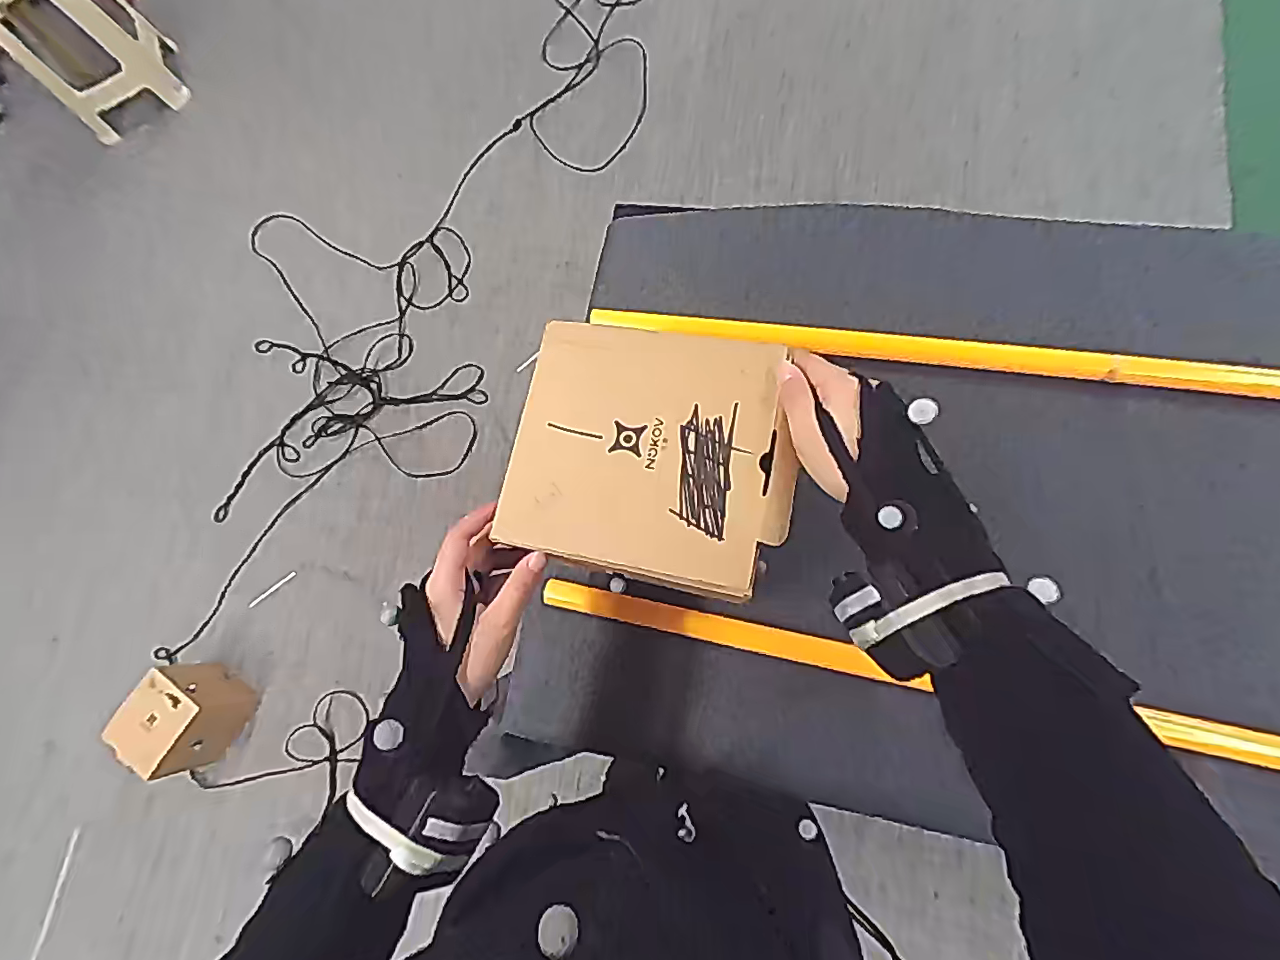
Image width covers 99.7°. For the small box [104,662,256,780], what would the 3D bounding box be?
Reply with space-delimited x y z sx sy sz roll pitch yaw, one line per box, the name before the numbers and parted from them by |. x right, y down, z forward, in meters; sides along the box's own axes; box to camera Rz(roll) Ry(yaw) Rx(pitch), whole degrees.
small box | -1.044 0.542 1.243 0.168 0.176 0.179 30 81 15

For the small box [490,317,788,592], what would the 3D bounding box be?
small box | 0.012 -0.008 0.438 0.179 0.176 0.168 10 78 13
